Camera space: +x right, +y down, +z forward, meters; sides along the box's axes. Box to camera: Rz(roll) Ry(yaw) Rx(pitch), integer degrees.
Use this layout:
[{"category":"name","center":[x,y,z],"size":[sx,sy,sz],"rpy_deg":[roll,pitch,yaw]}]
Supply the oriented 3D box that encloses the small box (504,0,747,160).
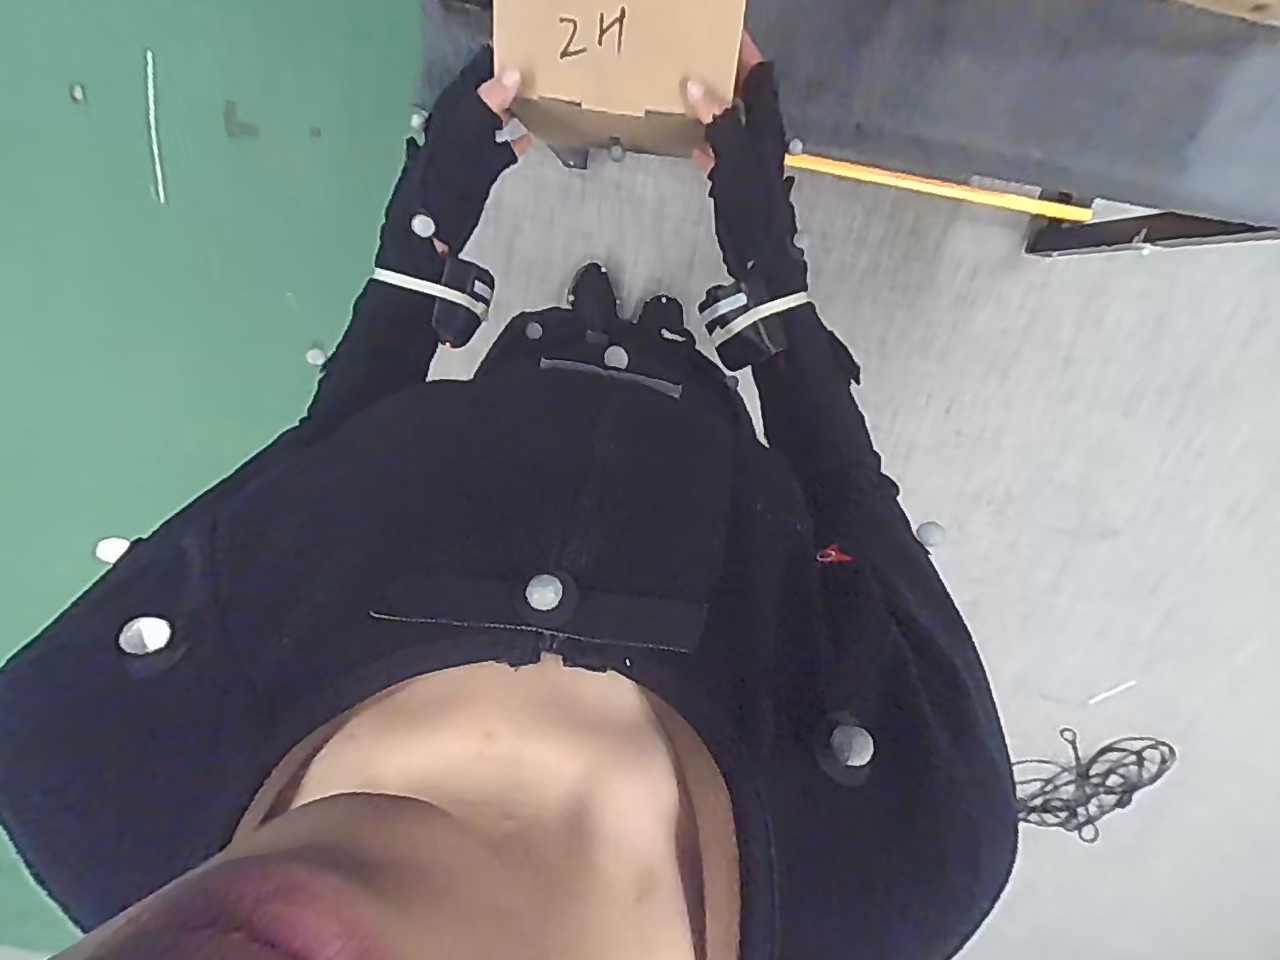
[{"category":"small box","center":[-0.006,-0.378,0.431],"size":[0.168,0.176,0.179],"rpy_deg":[6,111,-1]}]
